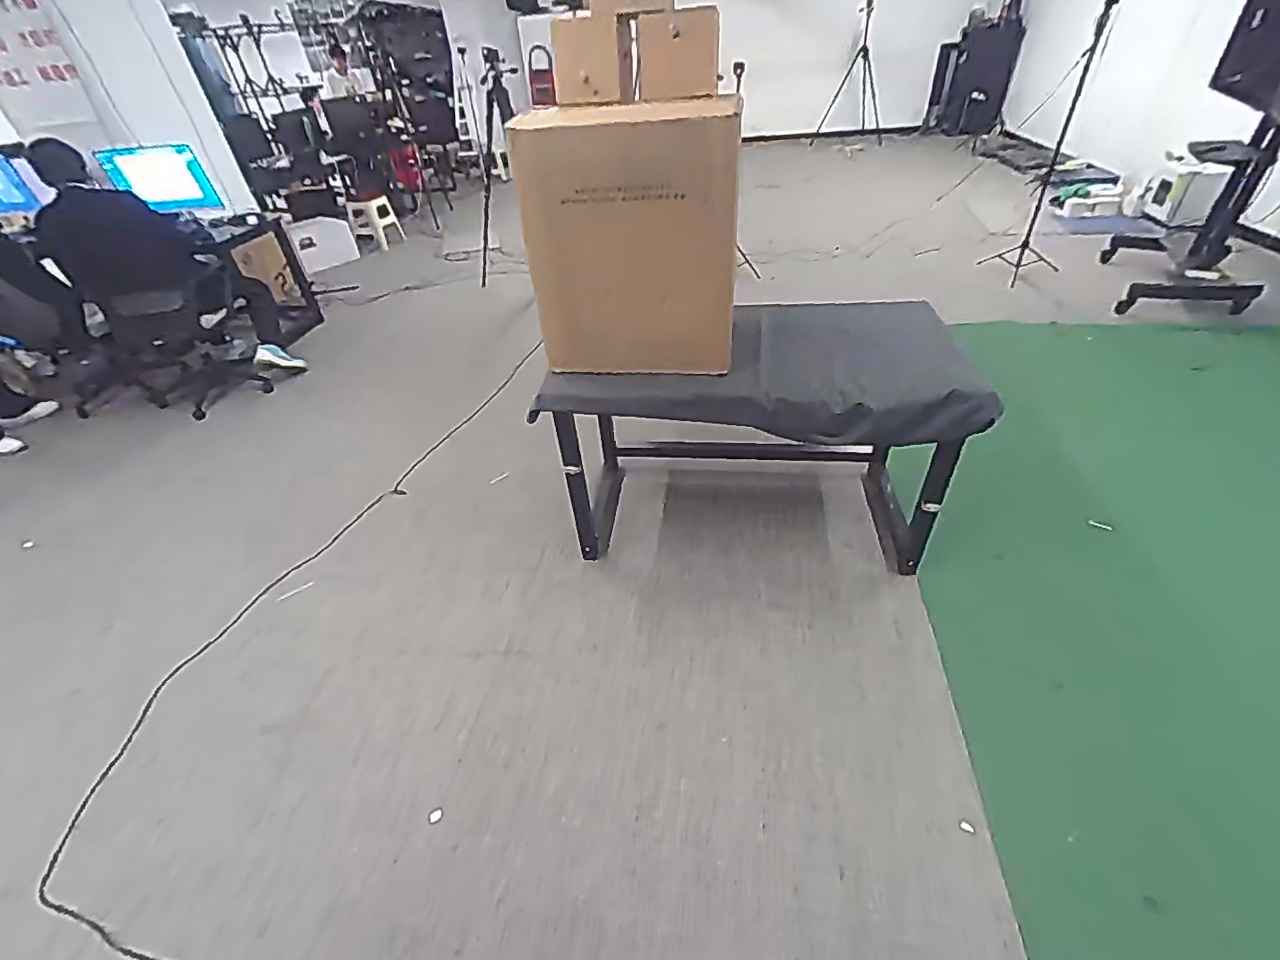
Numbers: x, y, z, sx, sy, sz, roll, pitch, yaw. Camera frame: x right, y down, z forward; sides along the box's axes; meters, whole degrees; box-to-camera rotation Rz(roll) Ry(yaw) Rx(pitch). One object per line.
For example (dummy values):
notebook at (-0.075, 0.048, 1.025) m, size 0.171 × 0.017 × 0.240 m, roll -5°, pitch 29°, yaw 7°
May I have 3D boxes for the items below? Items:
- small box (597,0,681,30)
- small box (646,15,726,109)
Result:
small box at (0.001, -1.164, 1.257) m, size 0.179 × 0.176 × 0.168 m, roll 5°, pitch 35°, yaw 10°
small box at (0.117, -1.020, 1.329) m, size 0.179 × 0.176 × 0.168 m, roll 4°, pitch 37°, yaw 9°
